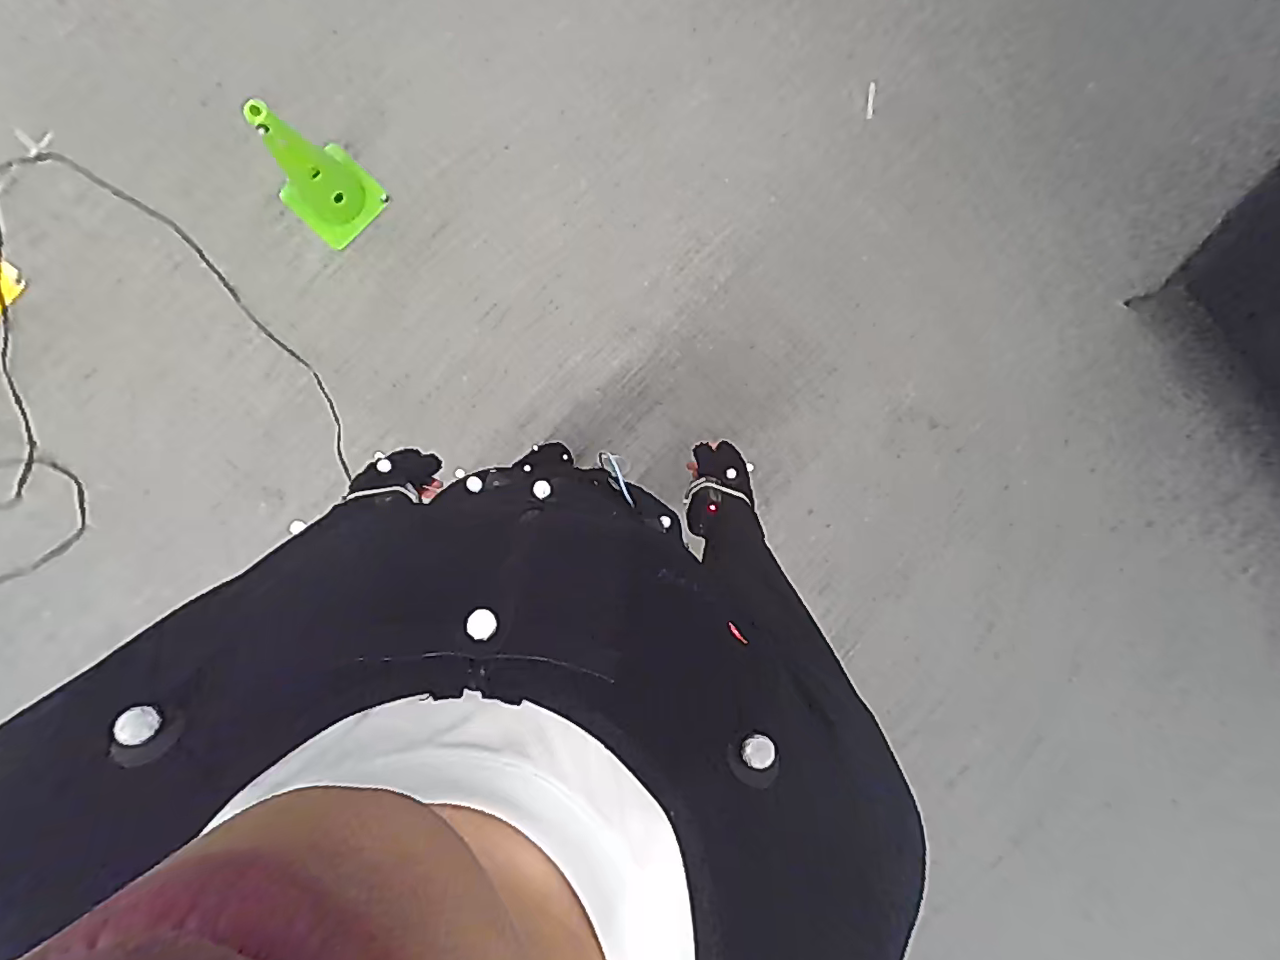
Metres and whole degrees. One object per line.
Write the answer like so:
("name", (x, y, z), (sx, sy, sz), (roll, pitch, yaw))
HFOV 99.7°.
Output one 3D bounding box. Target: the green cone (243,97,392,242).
("green cone", (-0.745, -0.724, 1.197), (0.200, 0.368, 0.202), (44, 89, -6))
